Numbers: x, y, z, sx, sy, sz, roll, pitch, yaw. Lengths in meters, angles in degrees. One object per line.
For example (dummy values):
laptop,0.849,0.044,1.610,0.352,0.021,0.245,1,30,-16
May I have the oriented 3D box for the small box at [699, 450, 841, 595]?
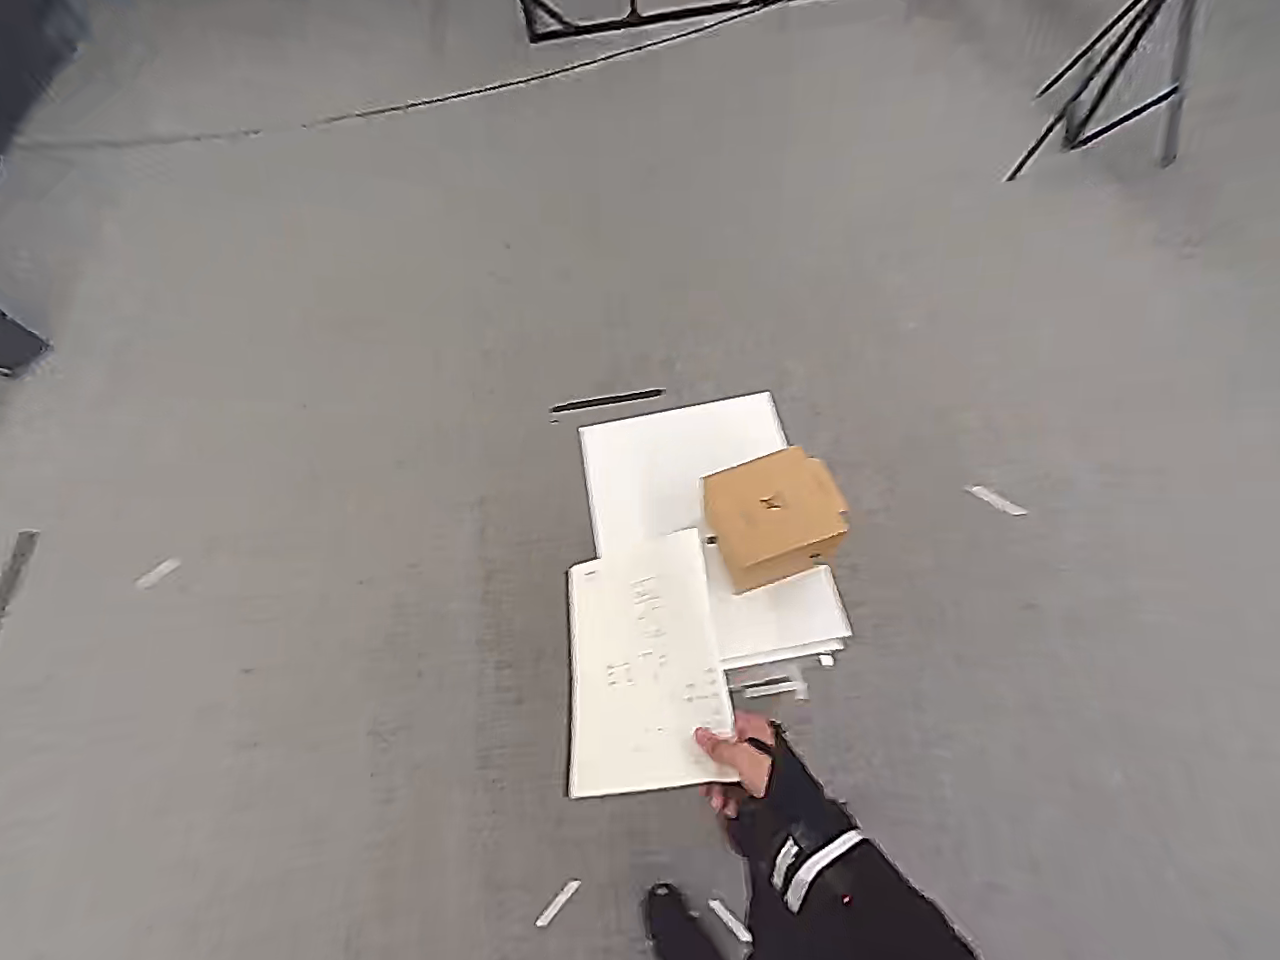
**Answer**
small box,0.208,0.078,0.922,0.179,0.176,0.168,-18,63,-3
